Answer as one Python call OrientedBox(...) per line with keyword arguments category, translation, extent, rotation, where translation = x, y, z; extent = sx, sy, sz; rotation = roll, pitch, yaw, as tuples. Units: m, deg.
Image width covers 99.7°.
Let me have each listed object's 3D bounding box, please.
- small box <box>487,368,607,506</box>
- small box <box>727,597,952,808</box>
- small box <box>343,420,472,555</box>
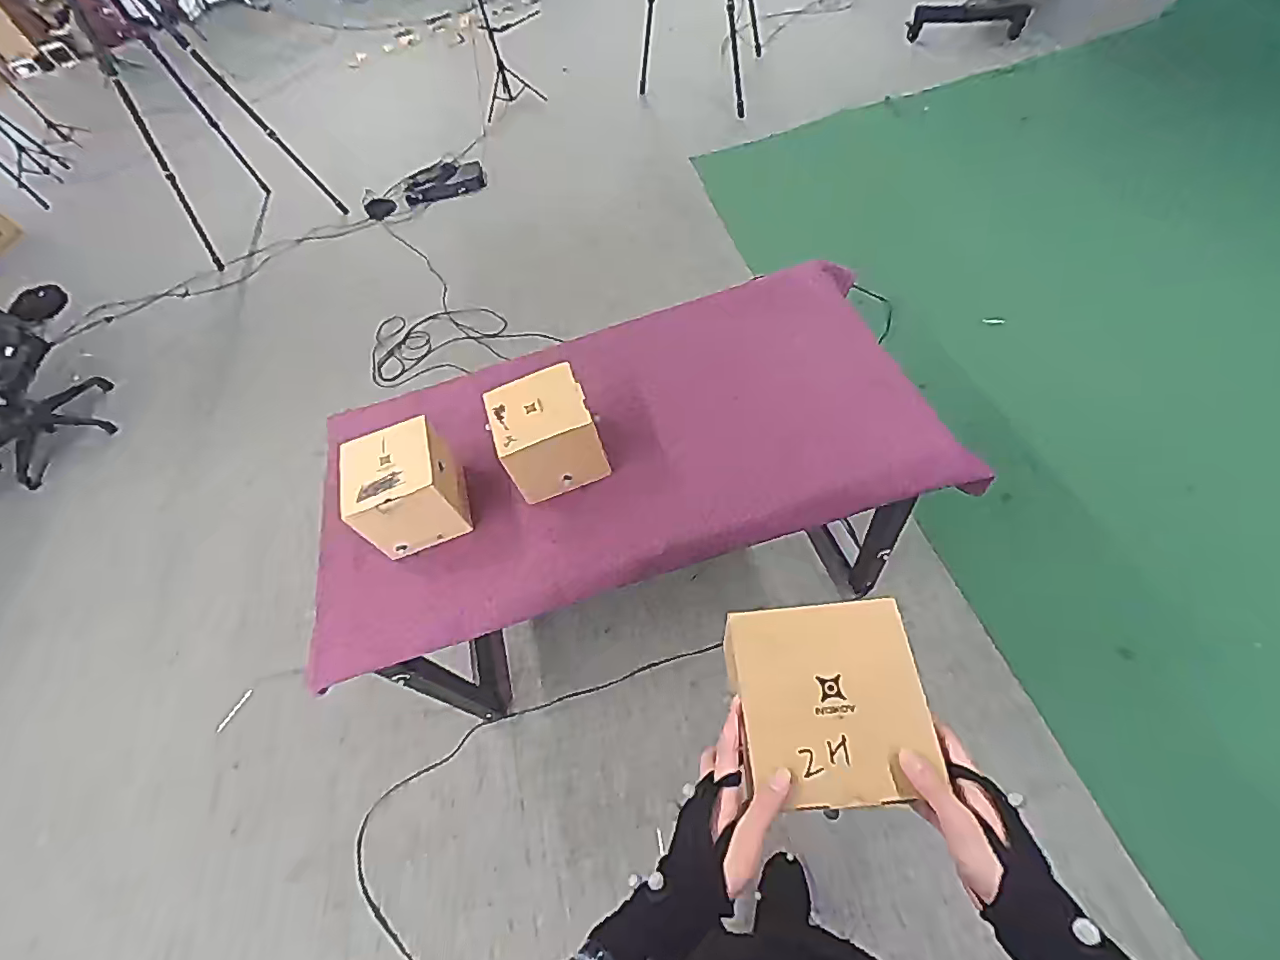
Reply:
OrientedBox(category="small box", translation=(-0.170, -0.079, 1.040), extent=(0.179, 0.176, 0.168), rotation=(-21, 55, -3))
OrientedBox(category="small box", translation=(0.185, 0.236, 0.568), extent=(0.168, 0.176, 0.179), rotation=(-6, 62, 4))
OrientedBox(category="small box", translation=(-0.434, 0.023, 1.025), extent=(0.168, 0.176, 0.179), rotation=(-21, 55, -3))
